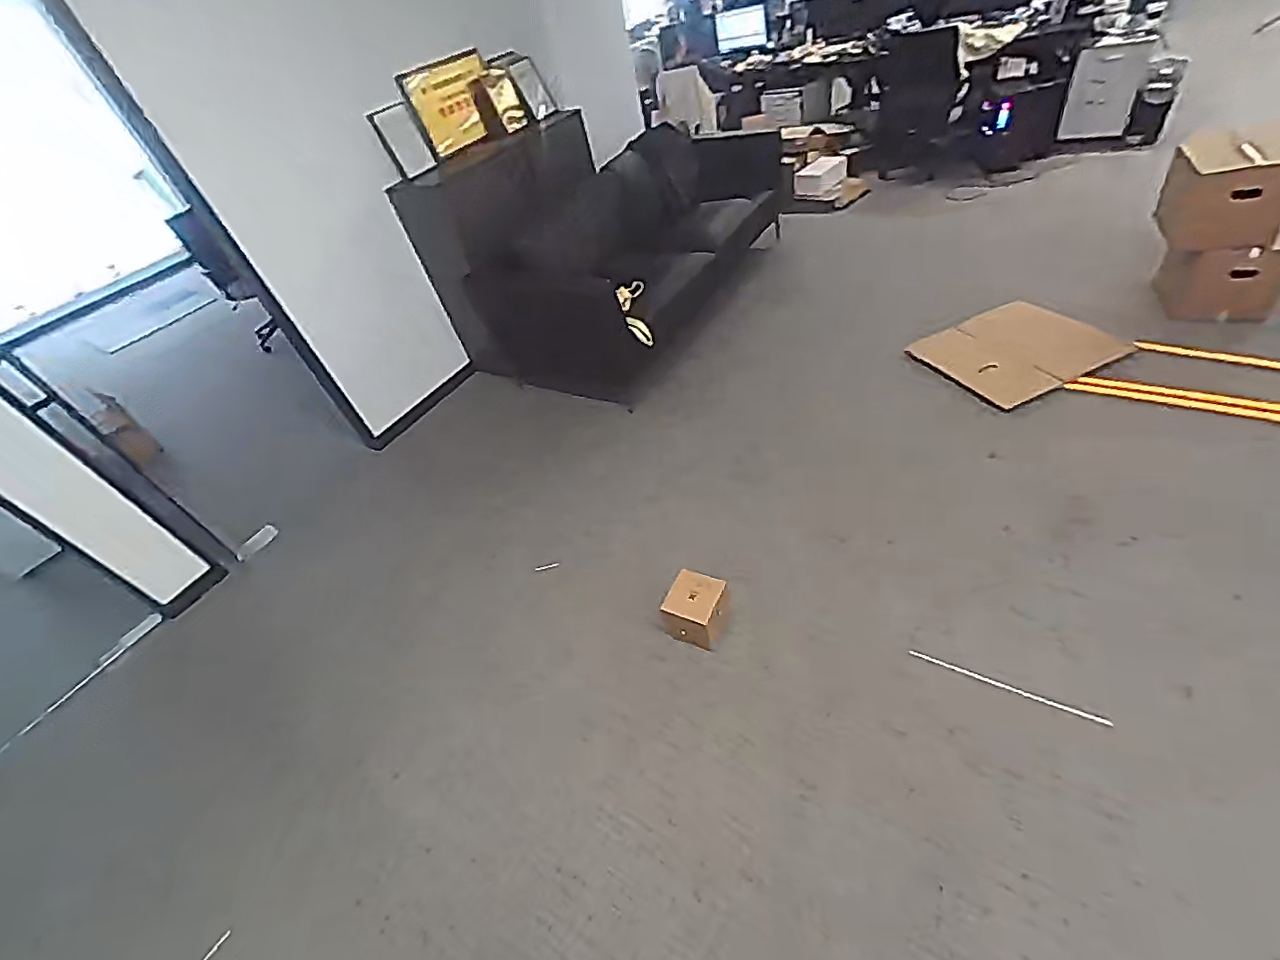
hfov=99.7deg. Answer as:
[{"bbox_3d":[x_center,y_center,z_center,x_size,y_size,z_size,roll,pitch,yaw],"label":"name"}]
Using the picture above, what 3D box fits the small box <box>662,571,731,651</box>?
[{"bbox_3d":[0.195,0.439,1.803,0.168,0.176,0.179,13,50,28],"label":"small box"}]
